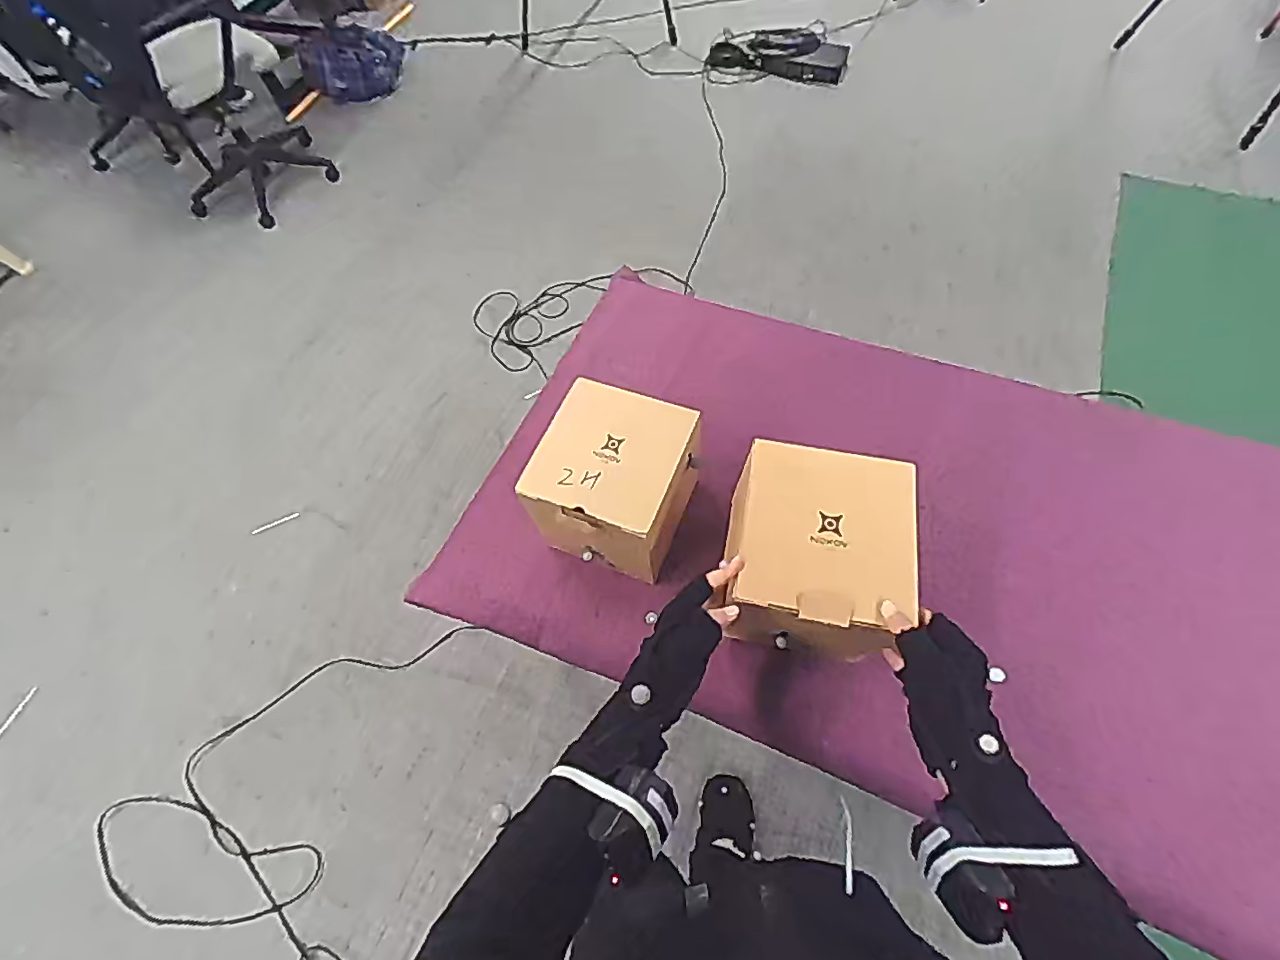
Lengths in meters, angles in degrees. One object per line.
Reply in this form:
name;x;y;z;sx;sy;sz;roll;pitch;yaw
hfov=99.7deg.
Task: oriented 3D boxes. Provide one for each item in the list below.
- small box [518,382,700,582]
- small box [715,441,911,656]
small box;-0.030;0.007;0.705;0.168;0.176;0.179;18;65;14
small box;0.182;0.083;0.602;0.168;0.176;0.179;10;65;6
